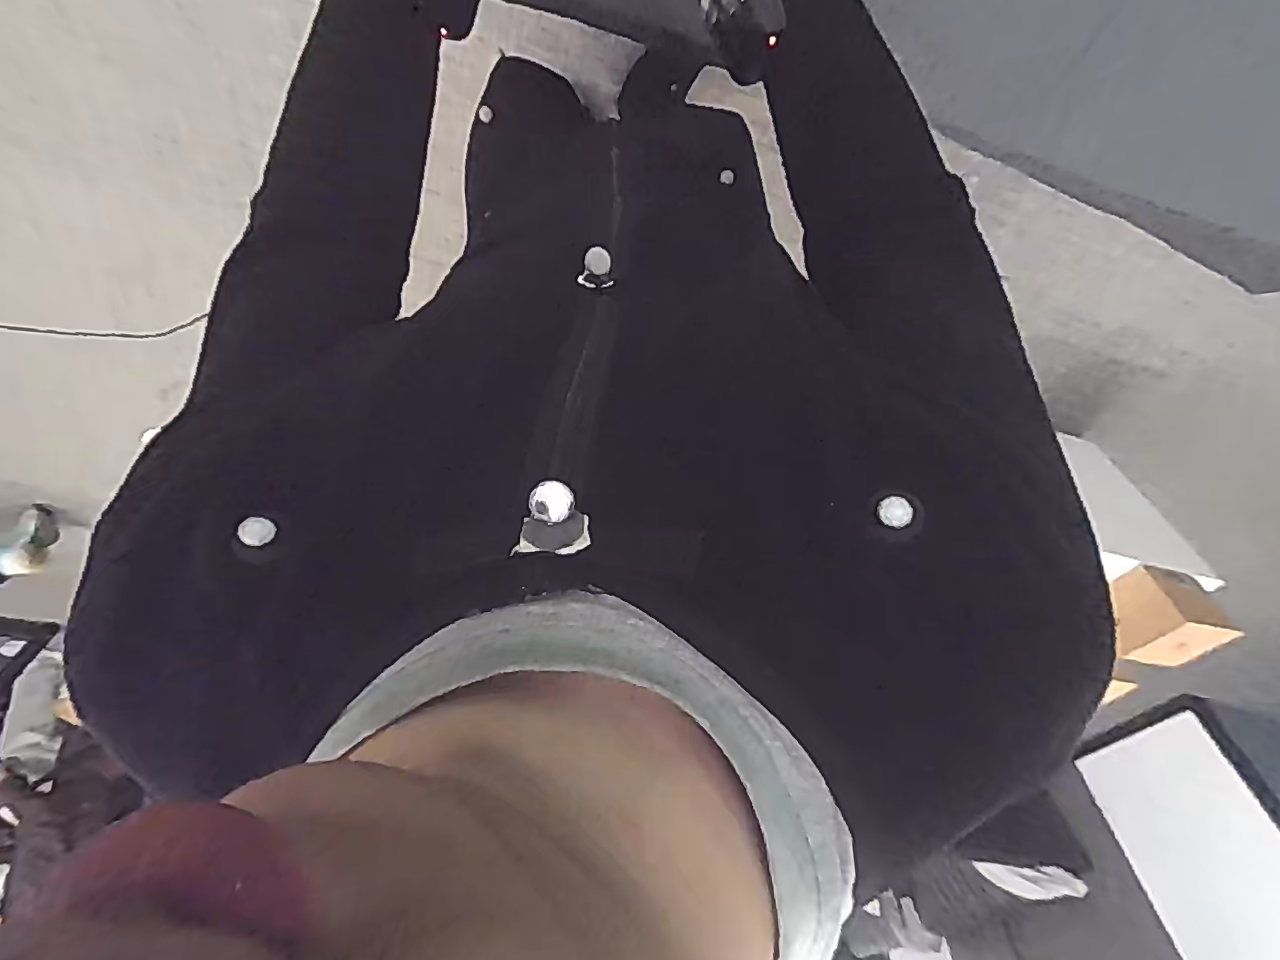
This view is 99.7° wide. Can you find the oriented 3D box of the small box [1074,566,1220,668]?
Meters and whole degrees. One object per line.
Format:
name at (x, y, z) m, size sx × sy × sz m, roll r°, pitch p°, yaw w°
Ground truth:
small box at (1.237, 0.341, 1.342) m, size 0.168 × 0.176 × 0.179 m, roll 11°, pitch 132°, yaw -12°
